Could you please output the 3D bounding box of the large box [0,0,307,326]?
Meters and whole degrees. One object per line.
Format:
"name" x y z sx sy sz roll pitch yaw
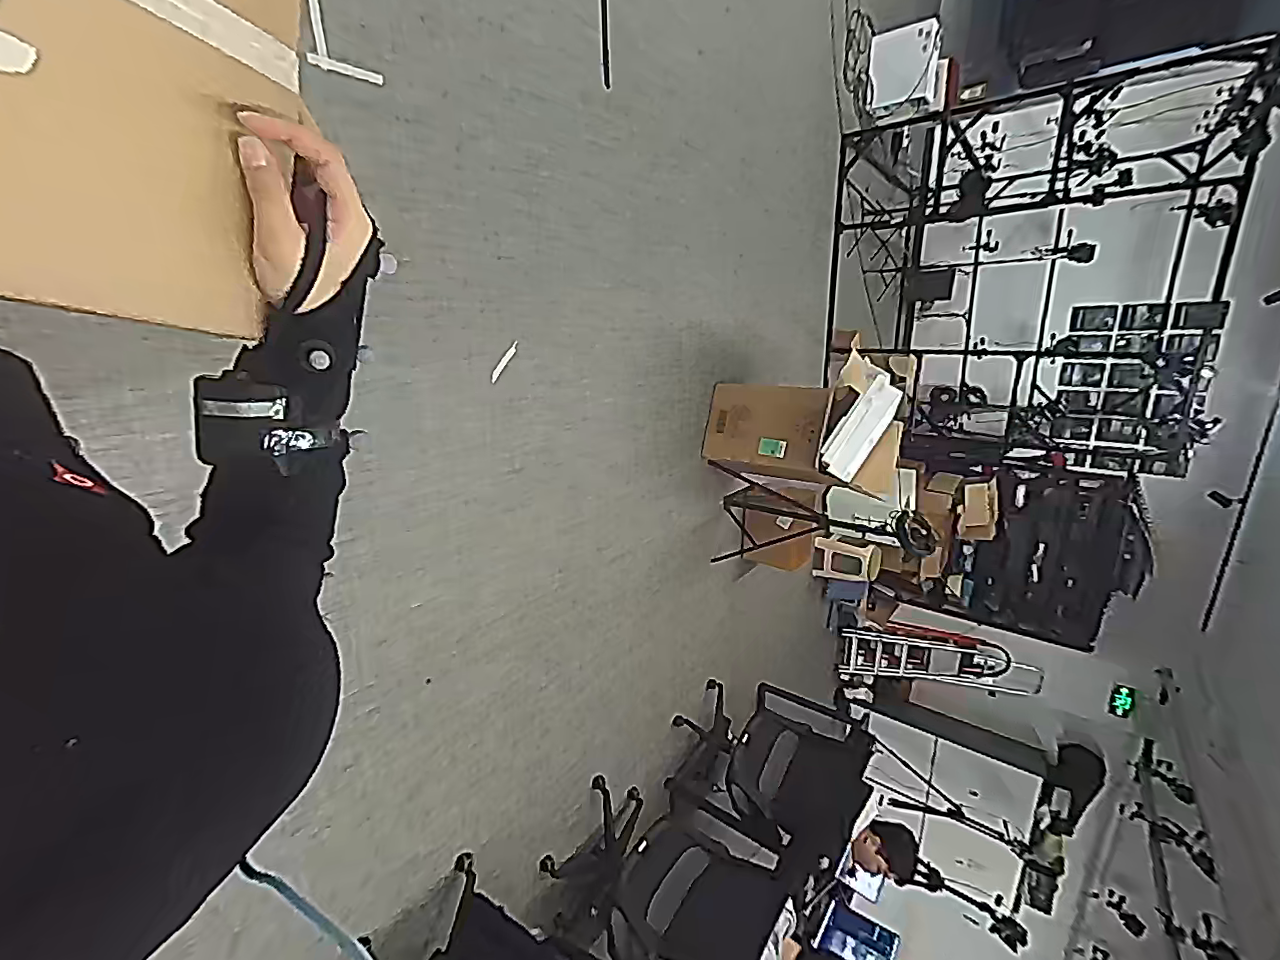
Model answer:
"large box" -0.437 -0.271 0.231 0.408 0.320 0.320 -4 107 -61
